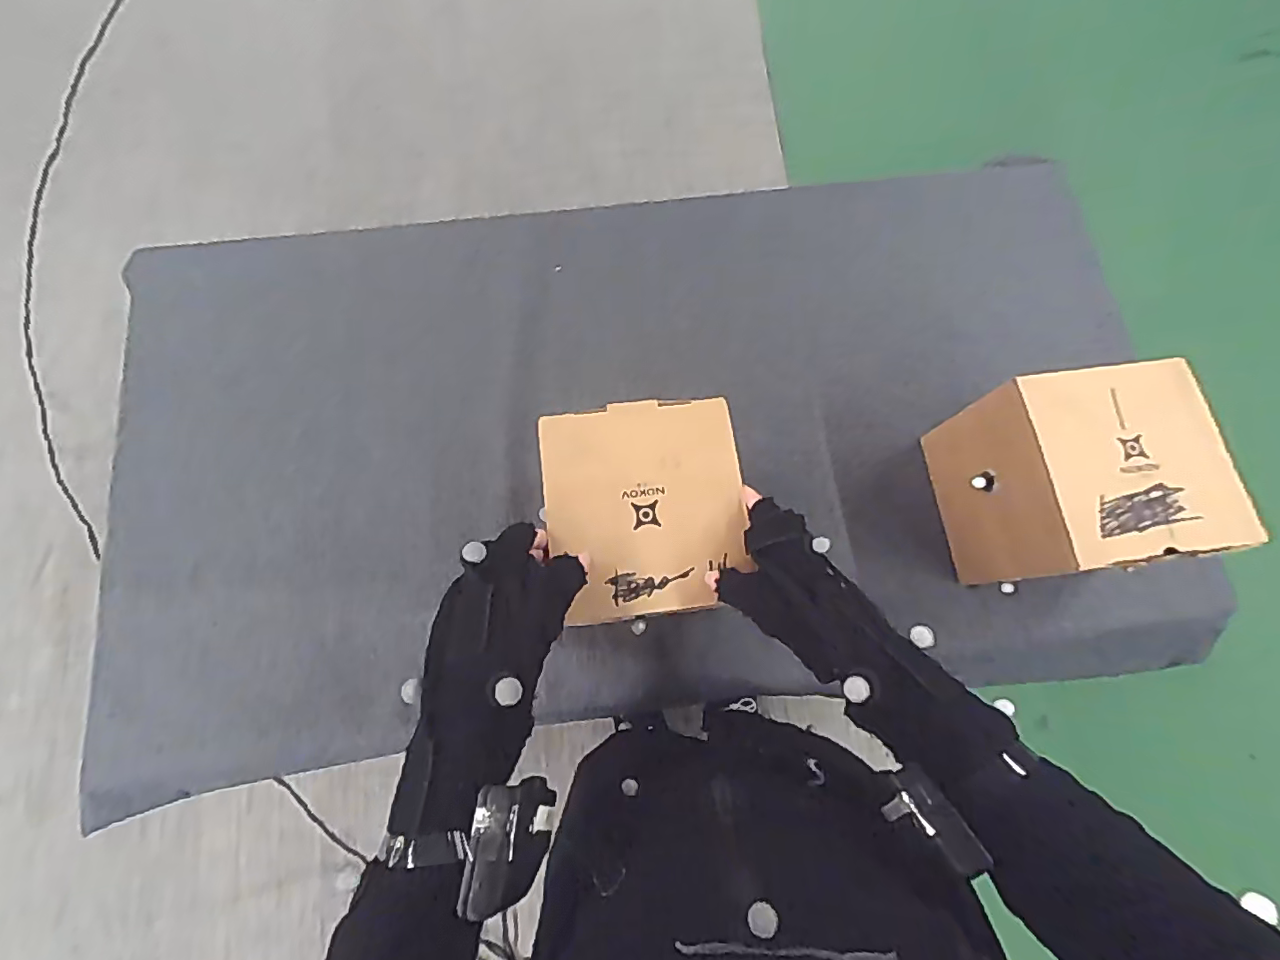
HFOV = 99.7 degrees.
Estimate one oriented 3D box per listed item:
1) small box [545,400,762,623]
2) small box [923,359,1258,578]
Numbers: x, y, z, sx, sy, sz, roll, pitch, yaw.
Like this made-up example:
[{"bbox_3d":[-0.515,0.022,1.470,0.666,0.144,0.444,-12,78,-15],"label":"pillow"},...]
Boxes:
[{"bbox_3d":[0.004,0.041,0.521,0.168,0.176,0.179,-6,76,-4],"label":"small box"},{"bbox_3d":[0.422,0.002,0.544,0.168,0.176,0.179,-7,74,-3],"label":"small box"}]
